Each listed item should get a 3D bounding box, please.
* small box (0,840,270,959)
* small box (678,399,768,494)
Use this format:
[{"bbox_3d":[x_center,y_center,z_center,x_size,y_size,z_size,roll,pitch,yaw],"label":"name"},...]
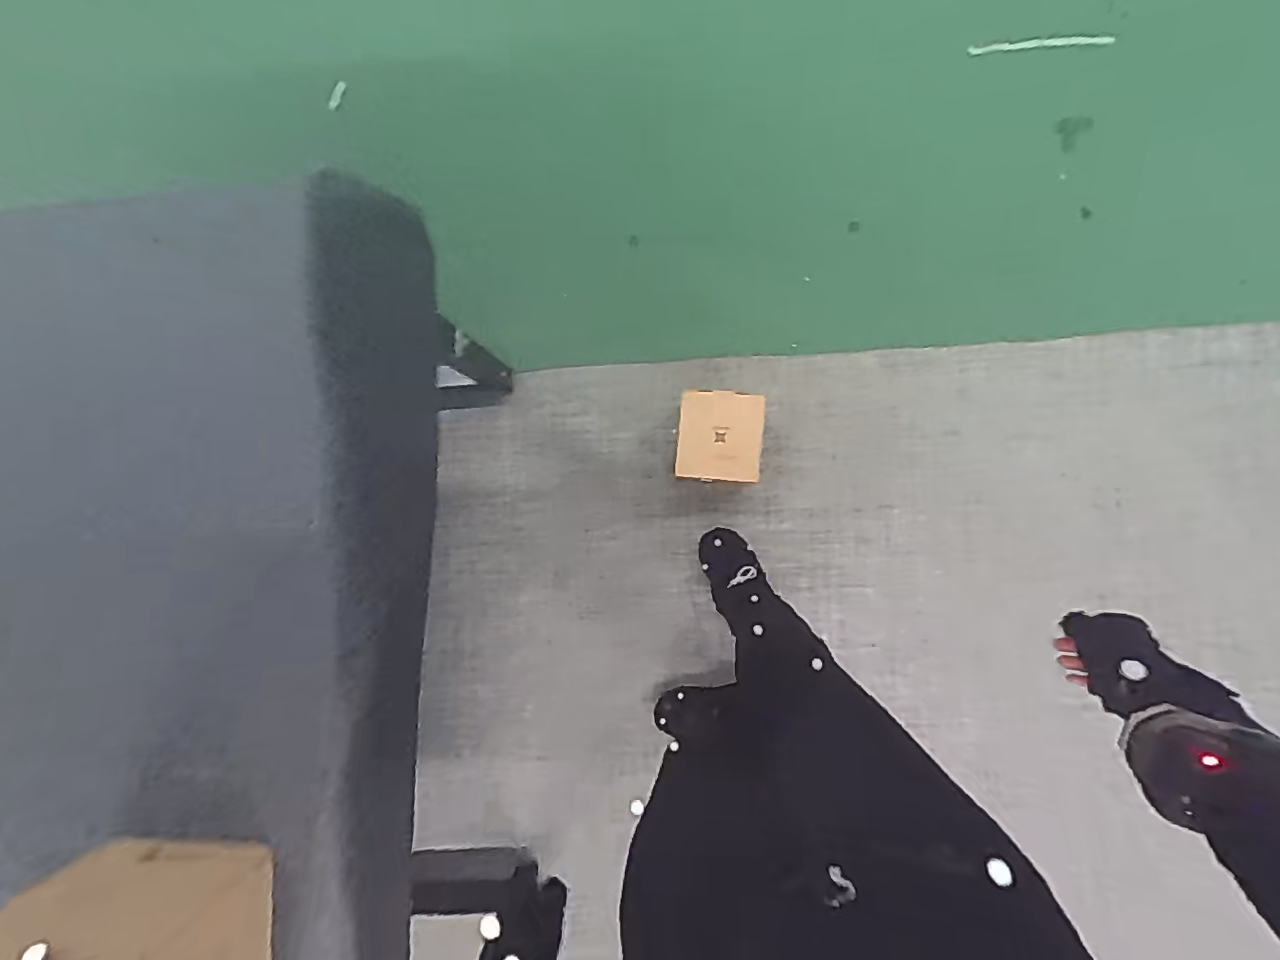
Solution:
[{"bbox_3d":[-0.431,0.429,0.428,0.168,0.176,0.179,0,87,4],"label":"small box"},{"bbox_3d":[0.169,-0.065,1.143,0.168,0.176,0.179,5,89,5],"label":"small box"}]
